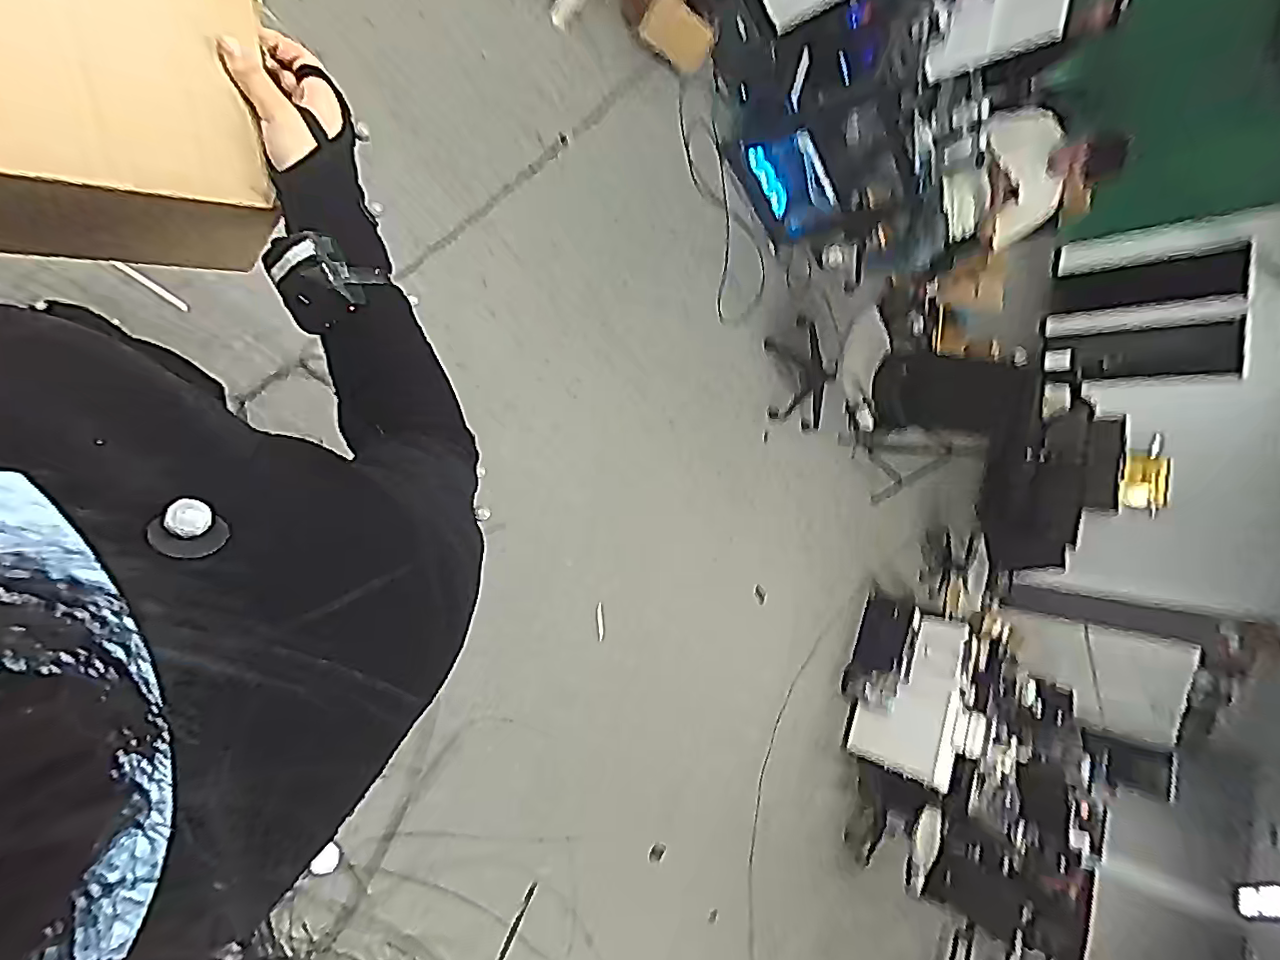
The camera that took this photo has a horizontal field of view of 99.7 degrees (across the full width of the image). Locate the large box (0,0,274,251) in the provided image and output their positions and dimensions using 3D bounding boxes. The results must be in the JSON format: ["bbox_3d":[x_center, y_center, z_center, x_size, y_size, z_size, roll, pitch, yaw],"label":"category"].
[{"bbox_3d":[-0.544,-0.364,0.393,0.408,0.320,0.320,-12,105,-37],"label":"large box"}]
